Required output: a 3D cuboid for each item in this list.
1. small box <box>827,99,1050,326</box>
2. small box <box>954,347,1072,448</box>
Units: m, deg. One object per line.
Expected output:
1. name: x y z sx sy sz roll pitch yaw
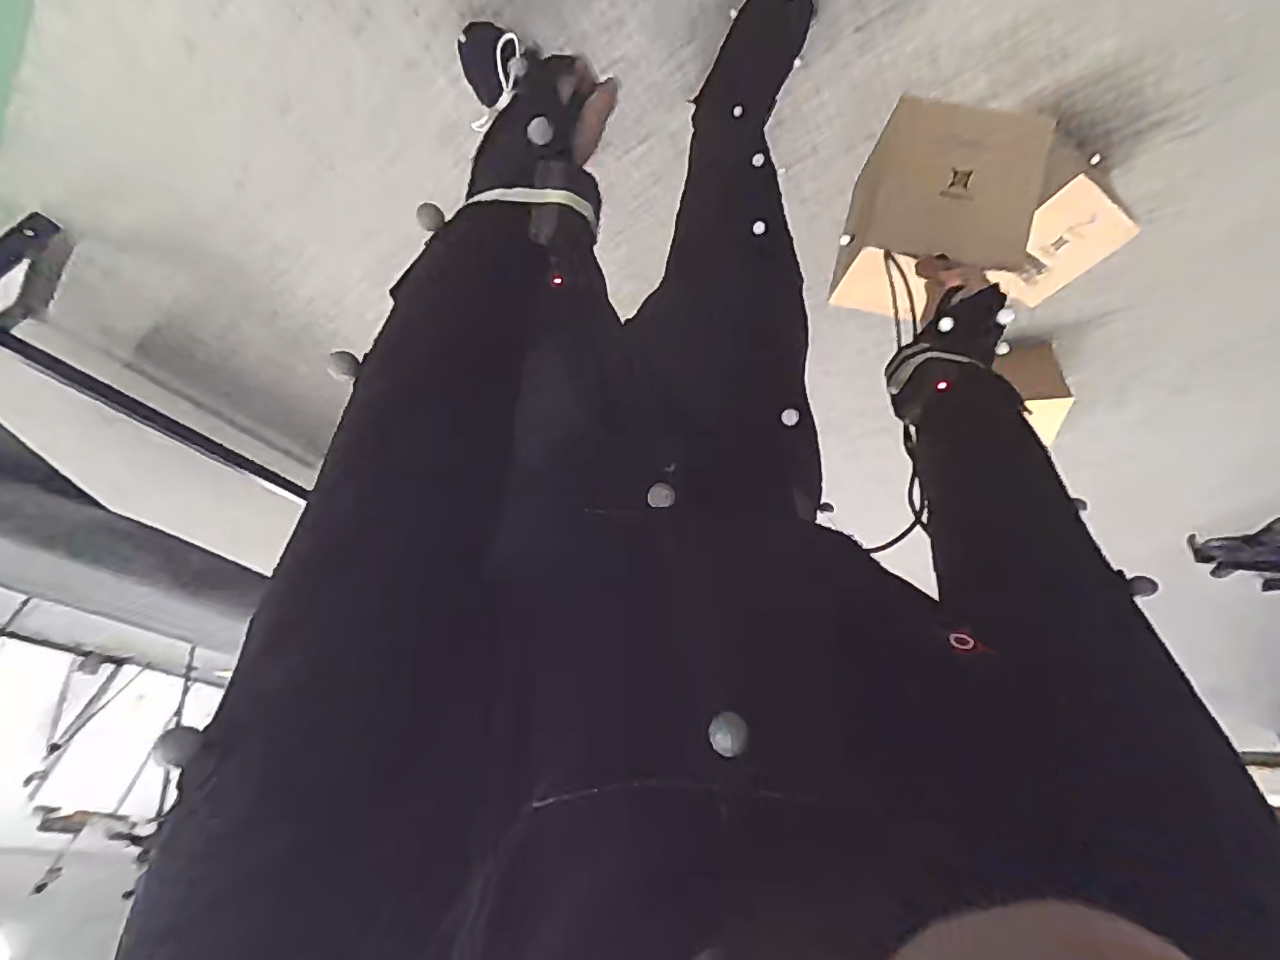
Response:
1. small box: 0.342 -0.307 0.657 0.168 0.179 0.176 14 177 4
2. small box: 0.859 -0.194 1.266 0.179 0.176 0.168 -2 145 18
